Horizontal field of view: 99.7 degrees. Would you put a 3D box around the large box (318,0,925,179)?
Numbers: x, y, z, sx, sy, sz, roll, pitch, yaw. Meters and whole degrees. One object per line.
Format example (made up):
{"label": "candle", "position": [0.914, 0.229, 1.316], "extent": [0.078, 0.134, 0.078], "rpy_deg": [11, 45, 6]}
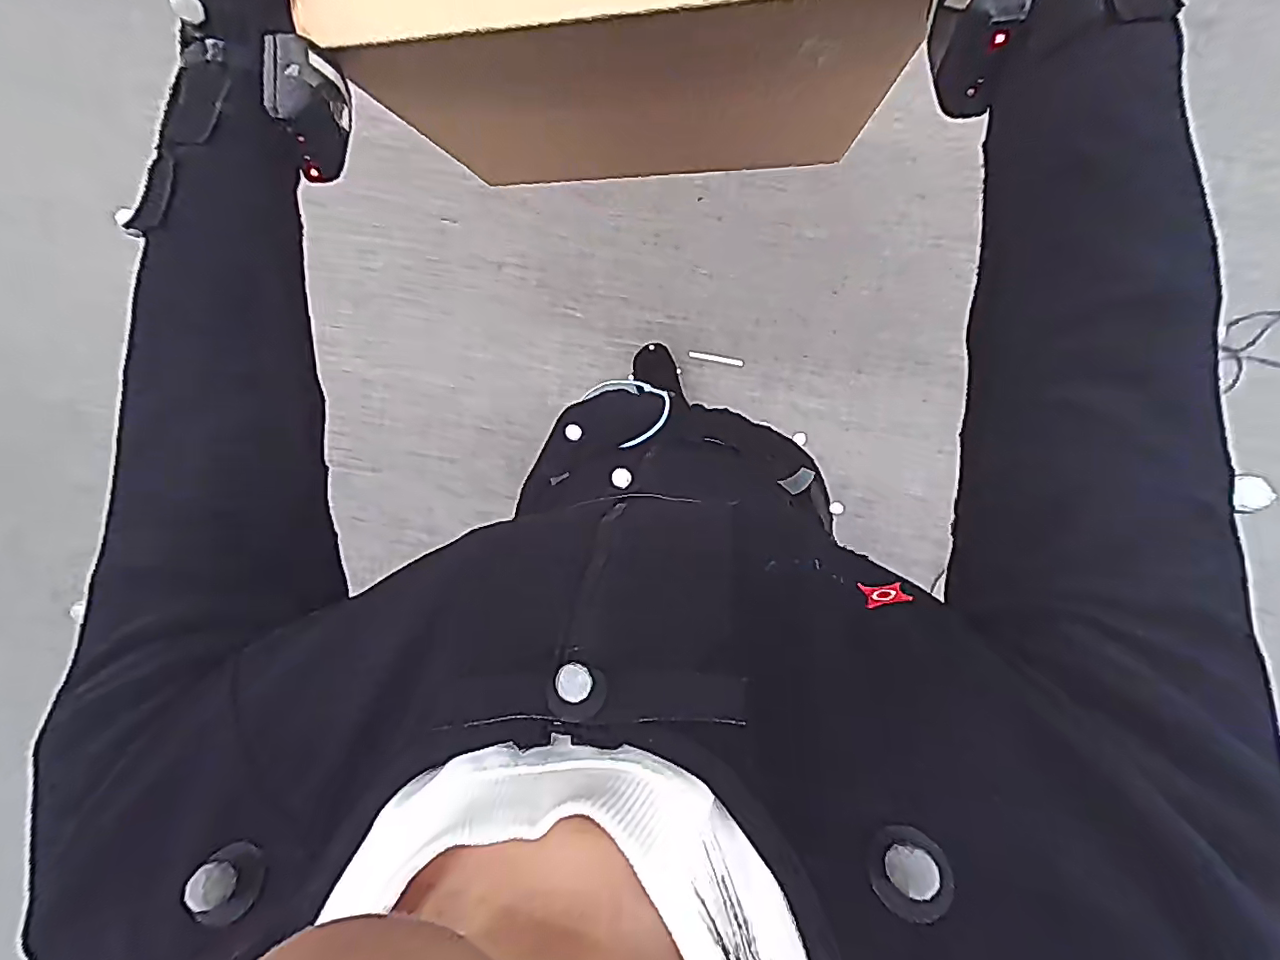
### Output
{"label": "large box", "position": [-0.004, -0.475, 0.440], "extent": [0.408, 0.320, 0.320], "rpy_deg": [-1, 104, 7]}
